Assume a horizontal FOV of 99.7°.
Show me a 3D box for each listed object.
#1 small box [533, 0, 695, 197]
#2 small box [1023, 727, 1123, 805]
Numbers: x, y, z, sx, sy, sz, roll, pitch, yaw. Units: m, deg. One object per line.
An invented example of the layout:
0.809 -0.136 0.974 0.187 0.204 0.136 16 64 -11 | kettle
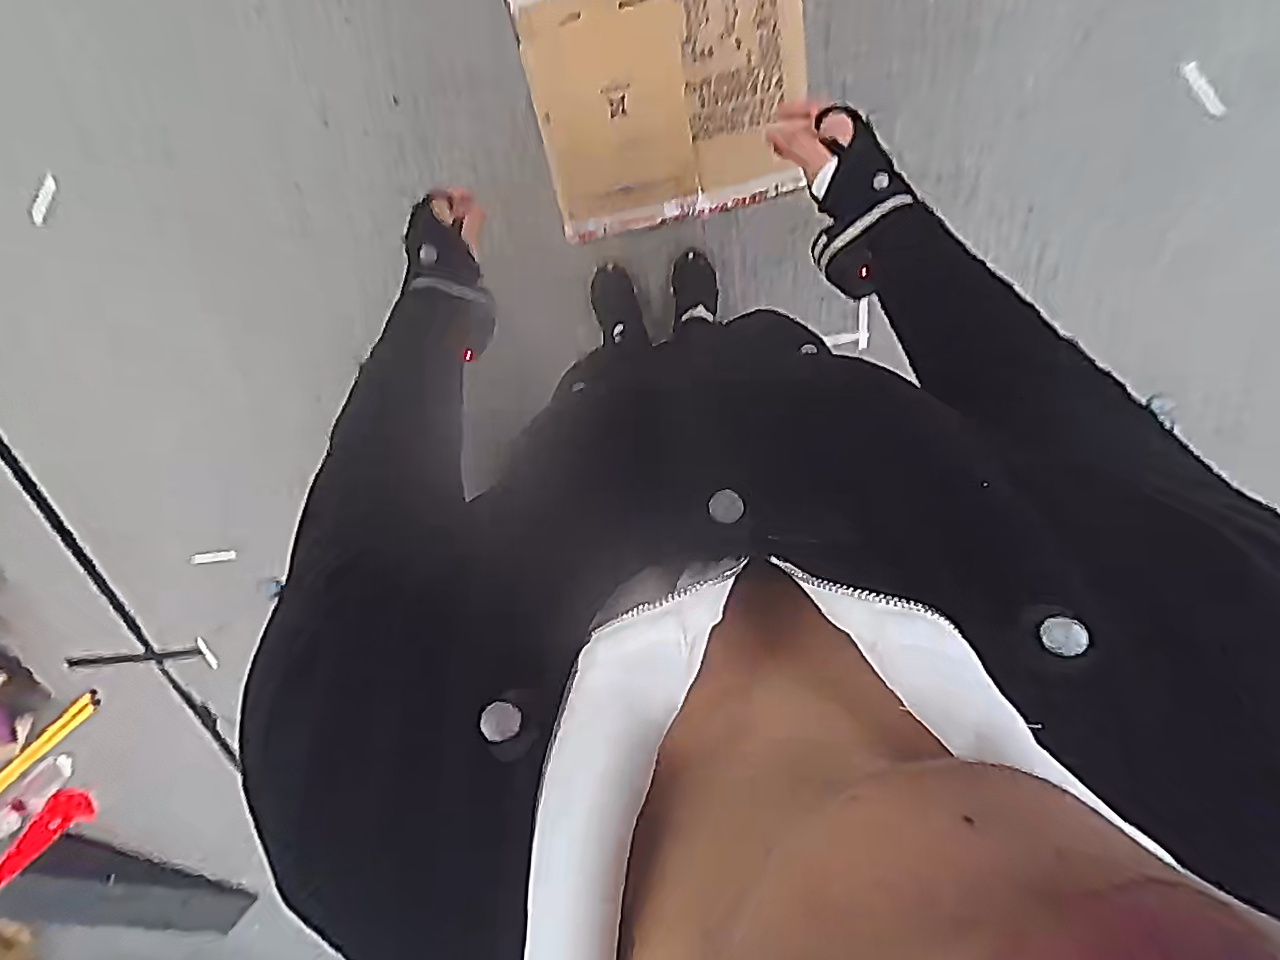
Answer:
-0.027 -0.487 0.709 0.168 0.176 0.179 -10 121 7 | small box
1.424 0.946 1.795 0.179 0.176 0.168 -2 118 1 | small box
